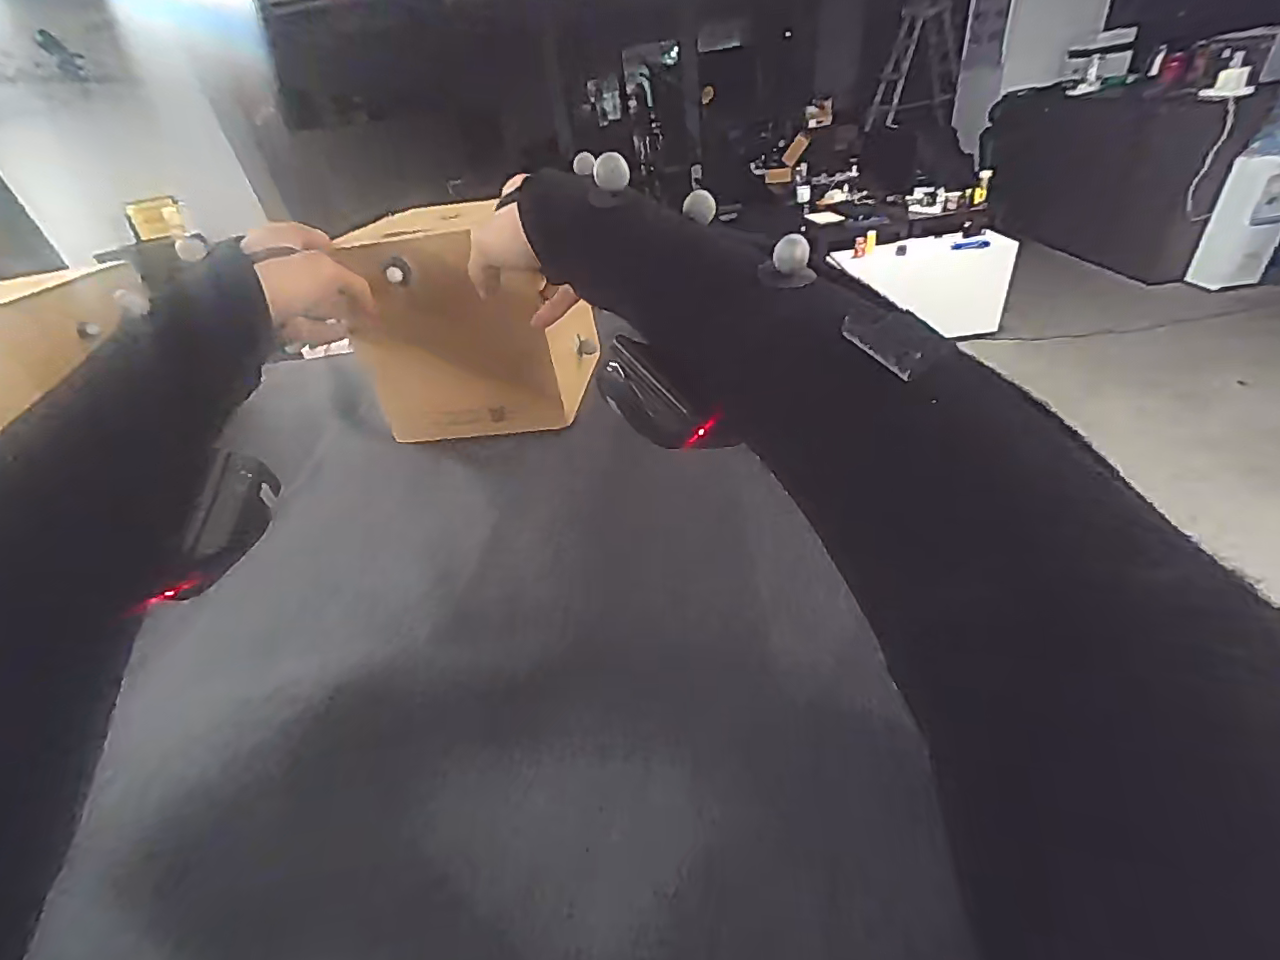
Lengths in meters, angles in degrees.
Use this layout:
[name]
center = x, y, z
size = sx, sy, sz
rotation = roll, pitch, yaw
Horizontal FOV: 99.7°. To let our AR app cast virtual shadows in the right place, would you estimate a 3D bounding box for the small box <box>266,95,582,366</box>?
[small box]
center = -0.152, -0.209, 0.458
size = 0.168, 0.176, 0.179
rotation = -4, 34, 9
